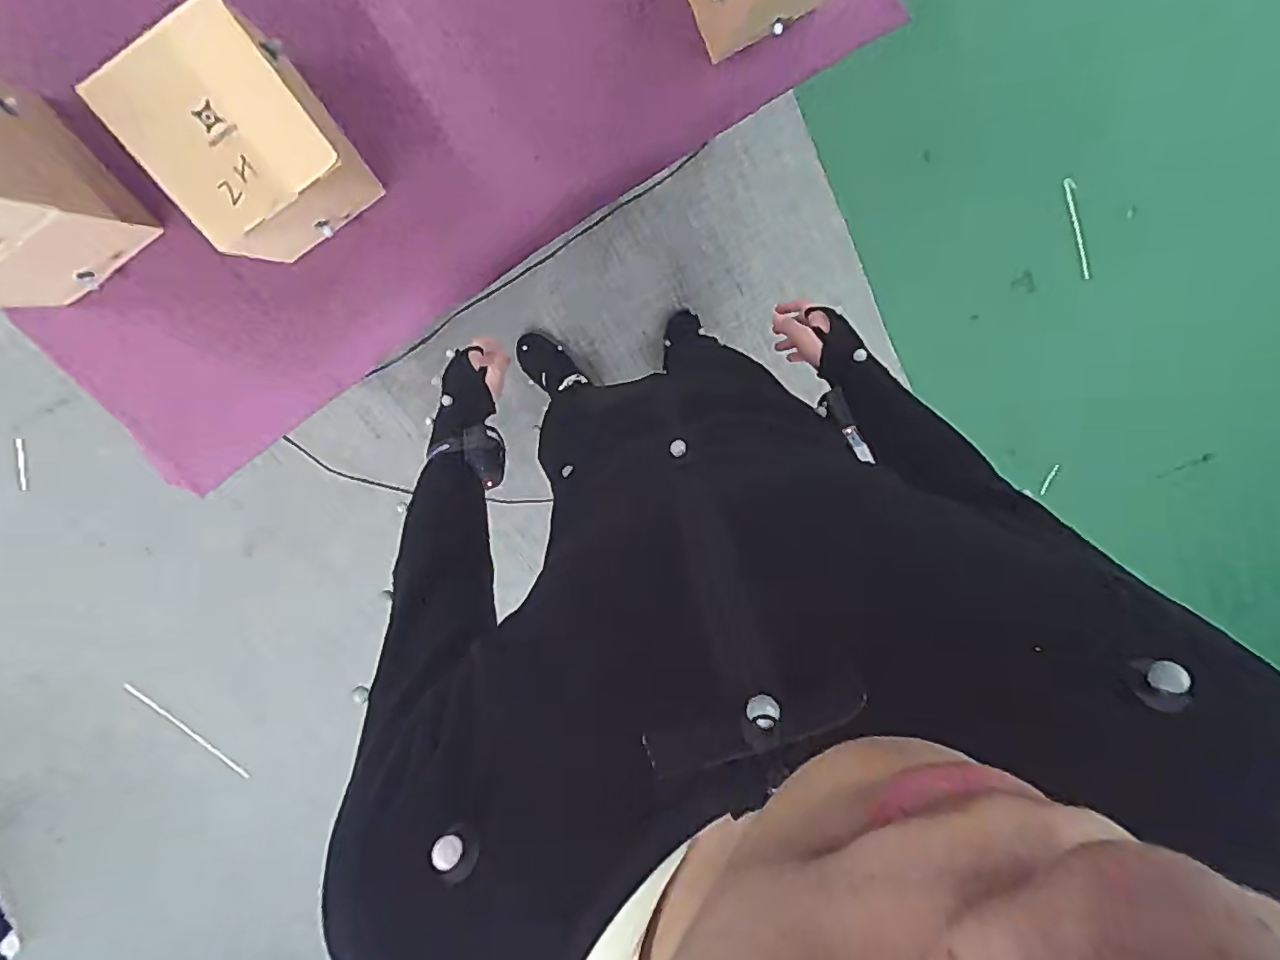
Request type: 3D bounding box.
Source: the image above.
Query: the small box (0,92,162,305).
[{"bbox_3d":[-0.709,-0.309,0.597,0.168,0.176,0.179,-35,111,4],"label":"small box"}]

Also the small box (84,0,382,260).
[{"bbox_3d":[-0.437,-0.376,0.619,0.168,0.176,0.179,-34,110,3],"label":"small box"}]

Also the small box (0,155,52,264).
[{"bbox_3d":[-0.684,-0.261,0.443,0.168,0.176,0.179,-36,110,4],"label":"small box"}]
